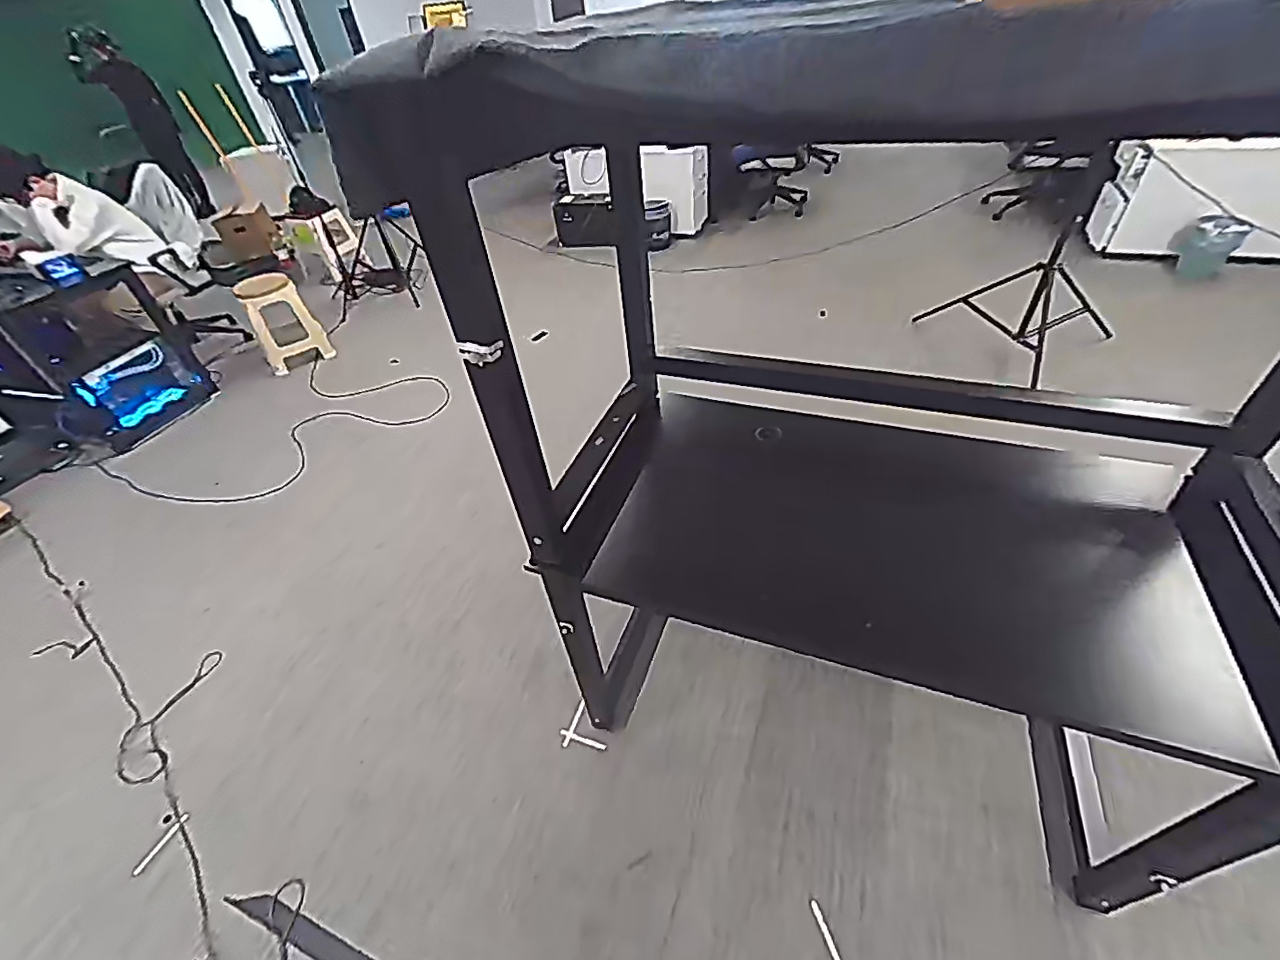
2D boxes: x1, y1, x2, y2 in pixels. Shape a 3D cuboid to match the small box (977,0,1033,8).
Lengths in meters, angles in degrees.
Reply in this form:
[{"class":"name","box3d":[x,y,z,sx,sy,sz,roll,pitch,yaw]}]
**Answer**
[{"class":"small box","box3d":[0.352,-0.451,0.378,0.168,0.176,0.179,11,43,18]}]
